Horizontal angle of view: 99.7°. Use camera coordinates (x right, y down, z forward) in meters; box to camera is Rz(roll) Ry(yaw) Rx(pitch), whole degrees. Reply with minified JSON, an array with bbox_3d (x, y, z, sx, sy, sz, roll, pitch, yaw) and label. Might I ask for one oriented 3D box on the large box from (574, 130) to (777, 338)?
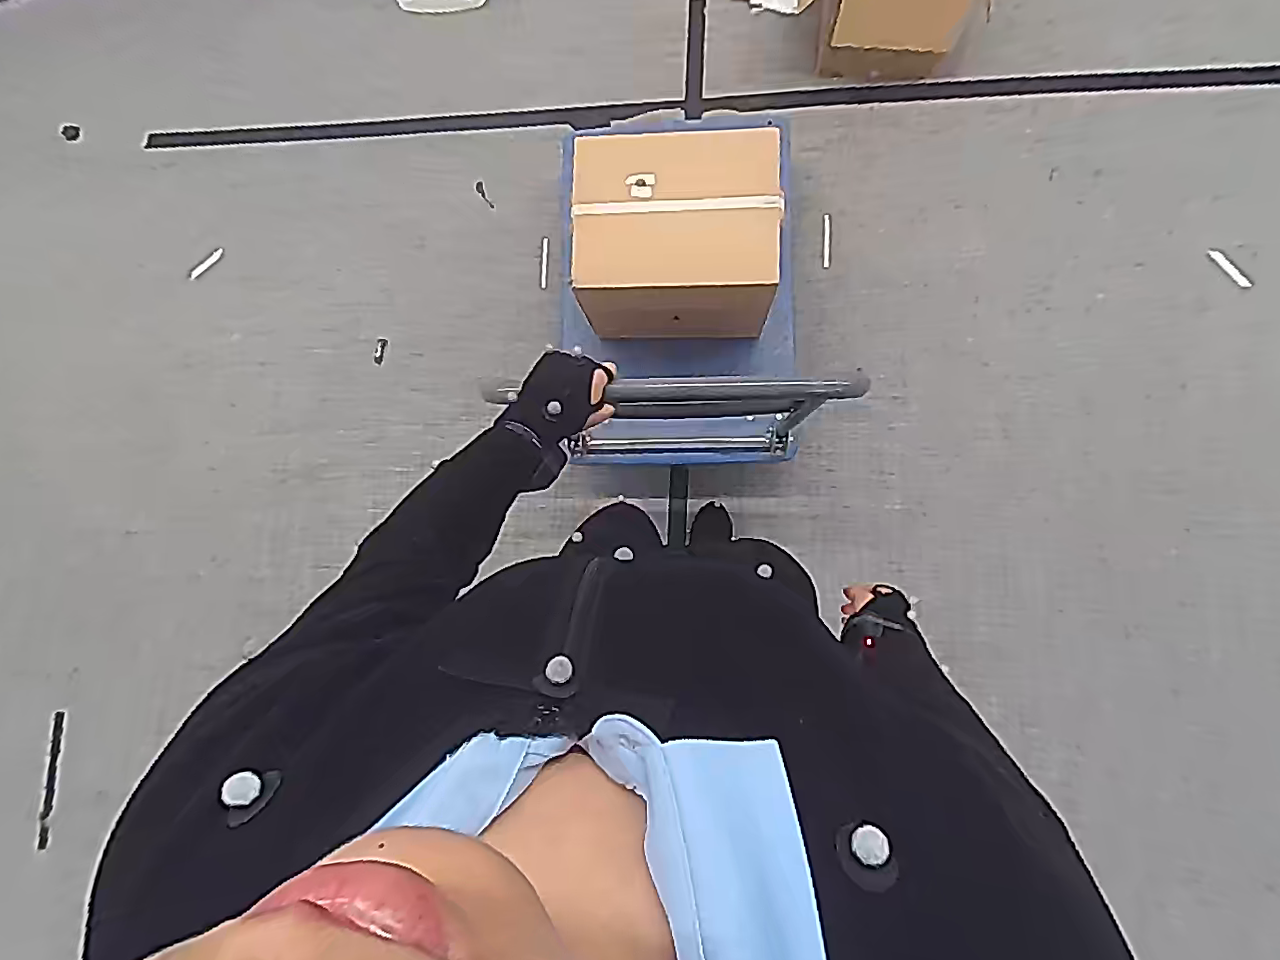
[{"bbox_3d":[0.084,-0.520,1.213,0.408,0.320,0.320,0,85,7],"label":"large box"}]
